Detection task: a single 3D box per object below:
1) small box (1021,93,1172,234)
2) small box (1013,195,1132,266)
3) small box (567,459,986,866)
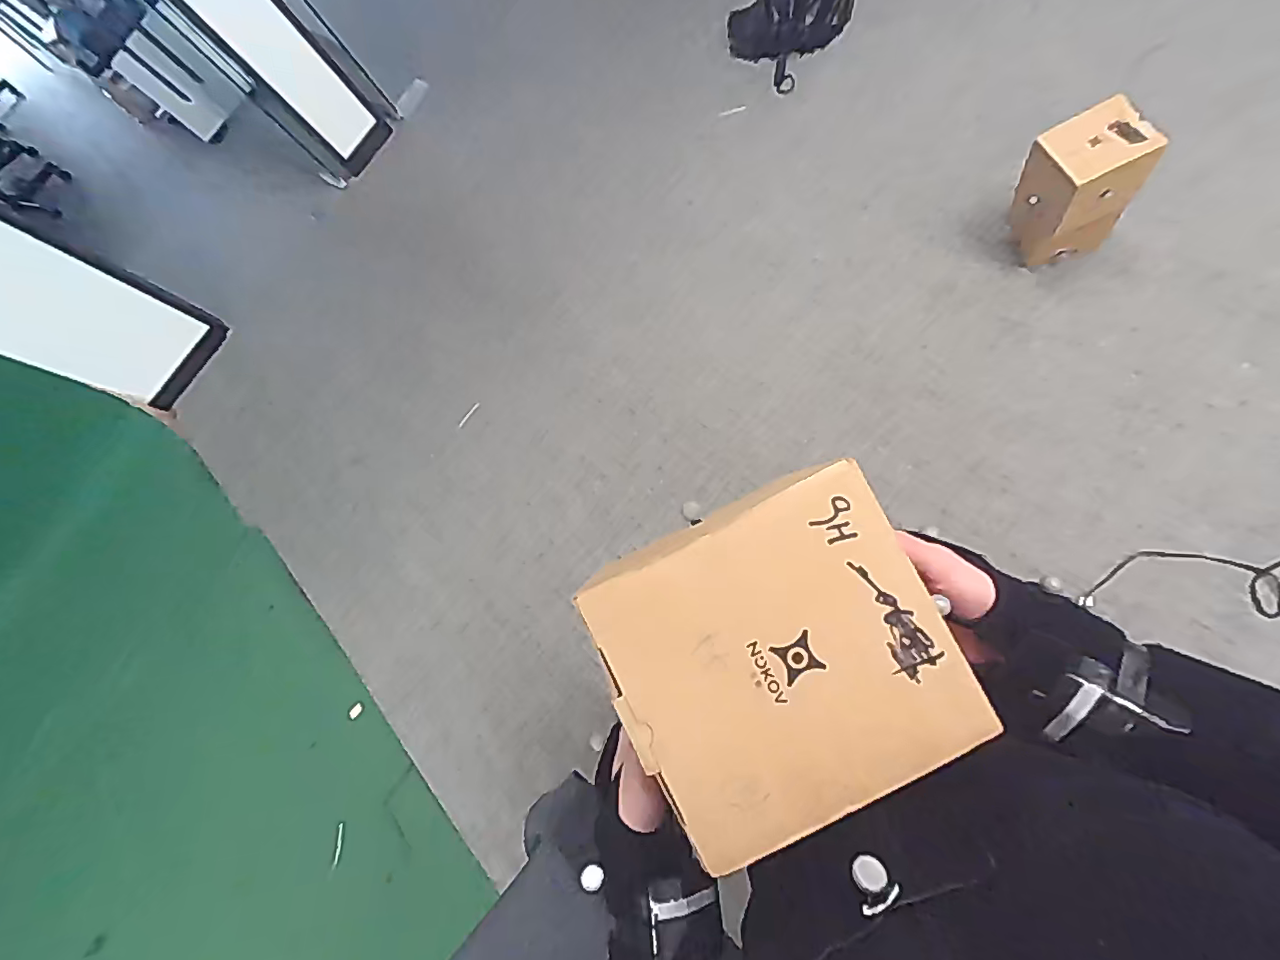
[{"bbox_3d":[1.003,-0.697,1.209,0.179,0.176,0.168,-24,67,14],"label":"small box"},{"bbox_3d":[1.073,-0.679,1.359,0.168,0.176,0.179,-12,72,18],"label":"small box"},{"bbox_3d":[0.076,0.102,0.371,0.179,0.176,0.168,-27,86,2],"label":"small box"}]
